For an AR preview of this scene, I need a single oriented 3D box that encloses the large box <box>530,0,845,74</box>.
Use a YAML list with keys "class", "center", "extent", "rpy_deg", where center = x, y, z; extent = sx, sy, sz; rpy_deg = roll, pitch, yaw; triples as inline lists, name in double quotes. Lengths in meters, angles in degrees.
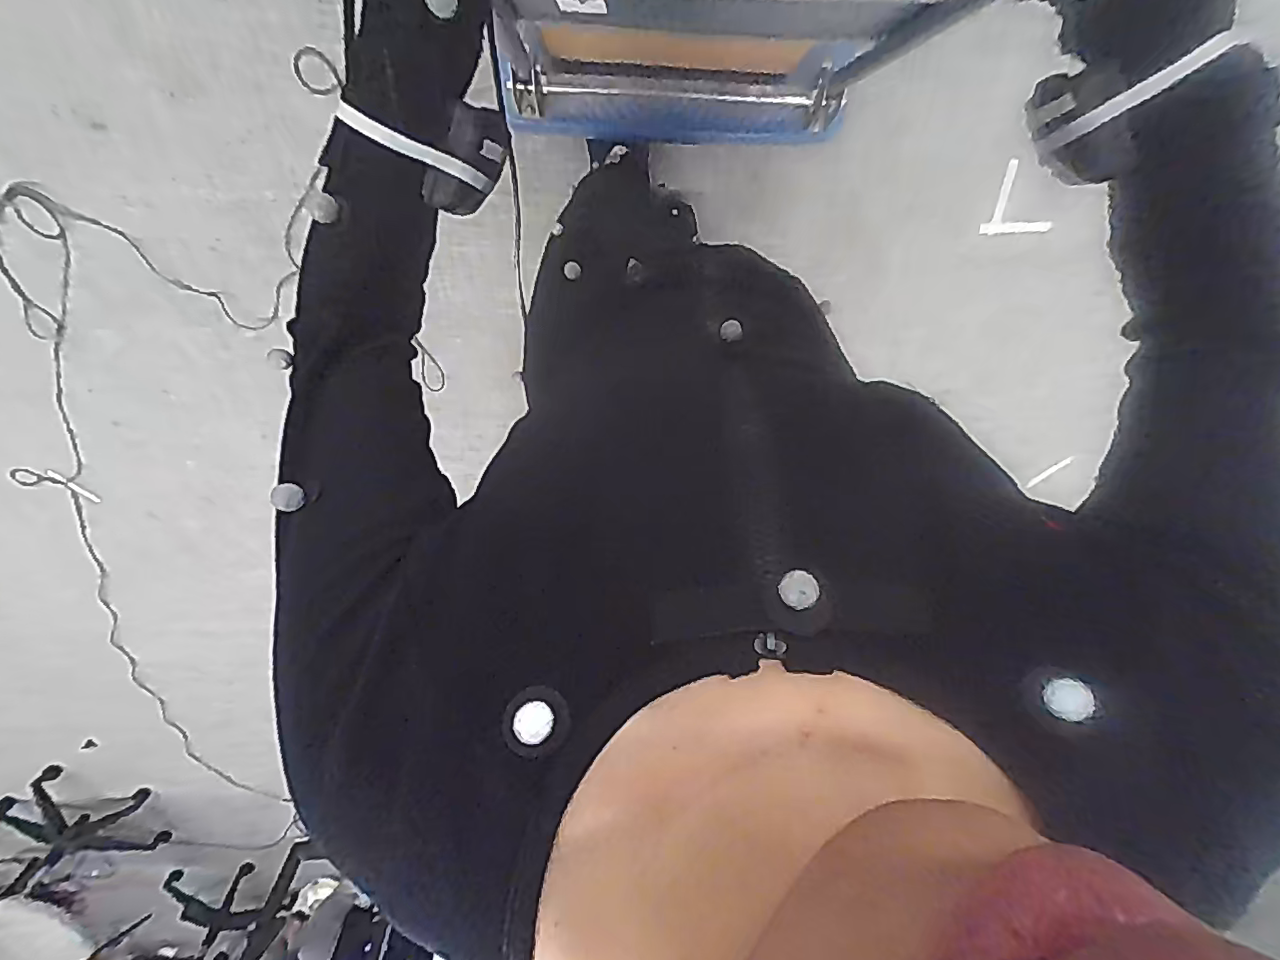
- class: "large box"
  center: [0.054, -0.765, 0.700]
  extent: [0.408, 0.320, 0.320]
  rpy_deg: [0, 112, -5]
